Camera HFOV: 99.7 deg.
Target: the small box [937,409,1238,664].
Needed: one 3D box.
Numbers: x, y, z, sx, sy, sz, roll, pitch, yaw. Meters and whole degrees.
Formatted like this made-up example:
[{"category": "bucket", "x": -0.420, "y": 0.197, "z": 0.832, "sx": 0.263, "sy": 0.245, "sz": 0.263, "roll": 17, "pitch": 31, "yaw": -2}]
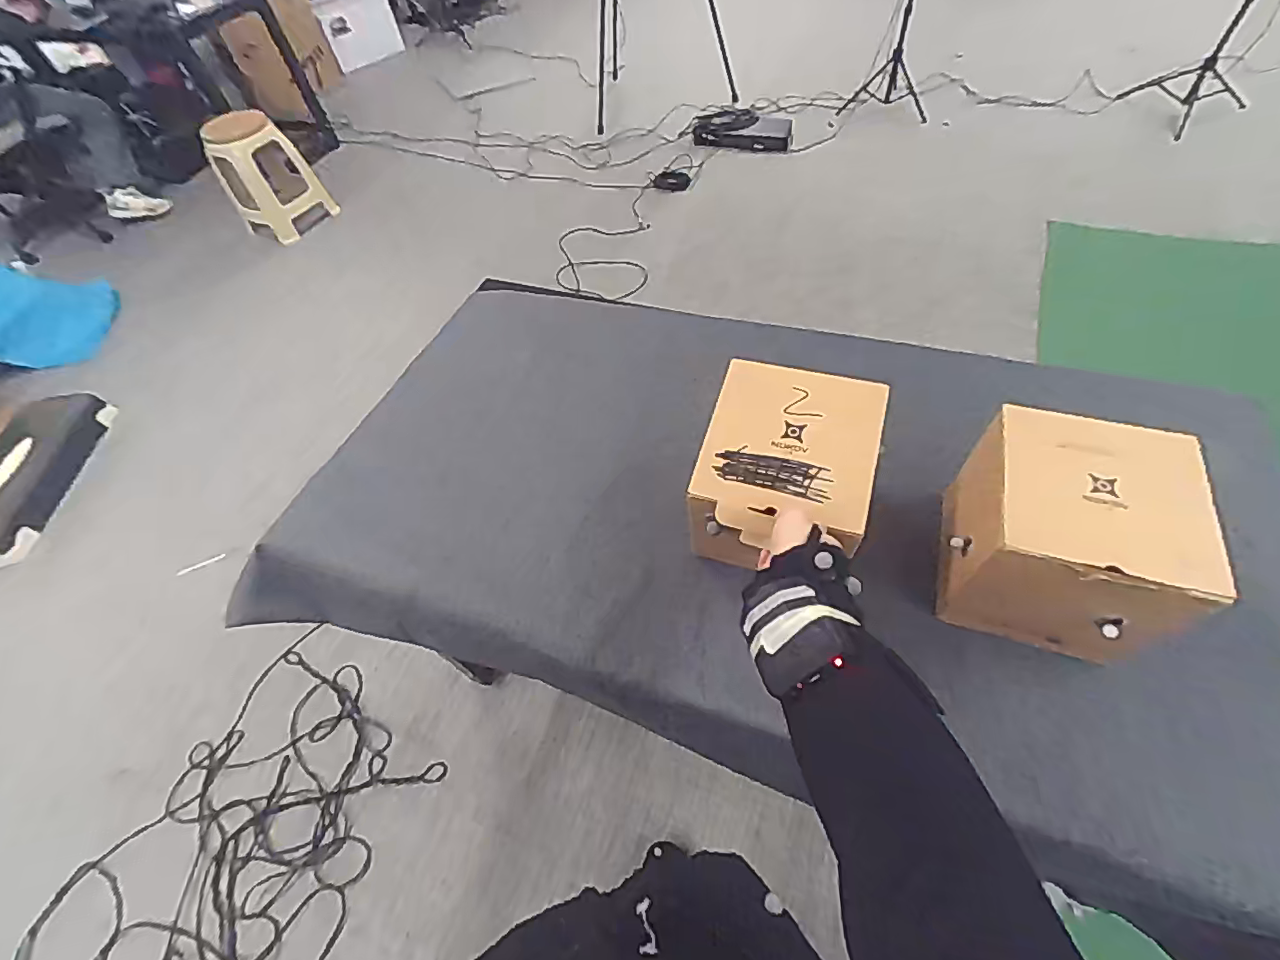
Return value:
[{"category": "small box", "x": 0.416, "y": 0.060, "z": 0.542, "sx": 0.168, "sy": 0.176, "sz": 0.179, "roll": 14, "pitch": 56, "yaw": 14}]
